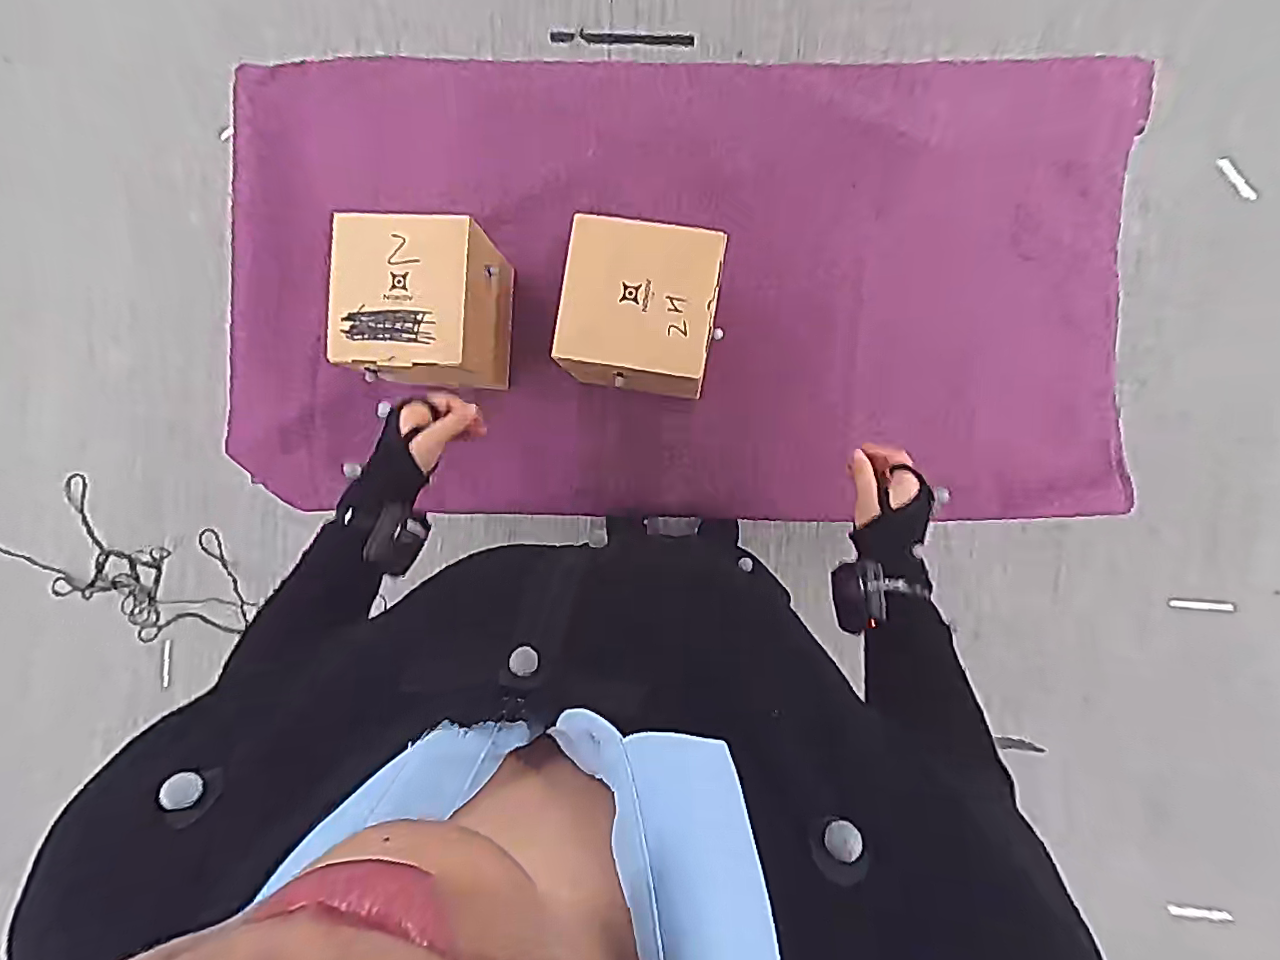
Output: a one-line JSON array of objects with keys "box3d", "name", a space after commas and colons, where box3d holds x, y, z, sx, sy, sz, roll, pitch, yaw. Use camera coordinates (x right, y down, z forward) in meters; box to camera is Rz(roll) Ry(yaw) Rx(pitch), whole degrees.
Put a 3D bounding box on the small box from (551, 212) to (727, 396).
[{"box3d": [0.004, -0.207, 0.682, 0.179, 0.176, 0.168, 10, 91, 4], "name": "small box"}]
